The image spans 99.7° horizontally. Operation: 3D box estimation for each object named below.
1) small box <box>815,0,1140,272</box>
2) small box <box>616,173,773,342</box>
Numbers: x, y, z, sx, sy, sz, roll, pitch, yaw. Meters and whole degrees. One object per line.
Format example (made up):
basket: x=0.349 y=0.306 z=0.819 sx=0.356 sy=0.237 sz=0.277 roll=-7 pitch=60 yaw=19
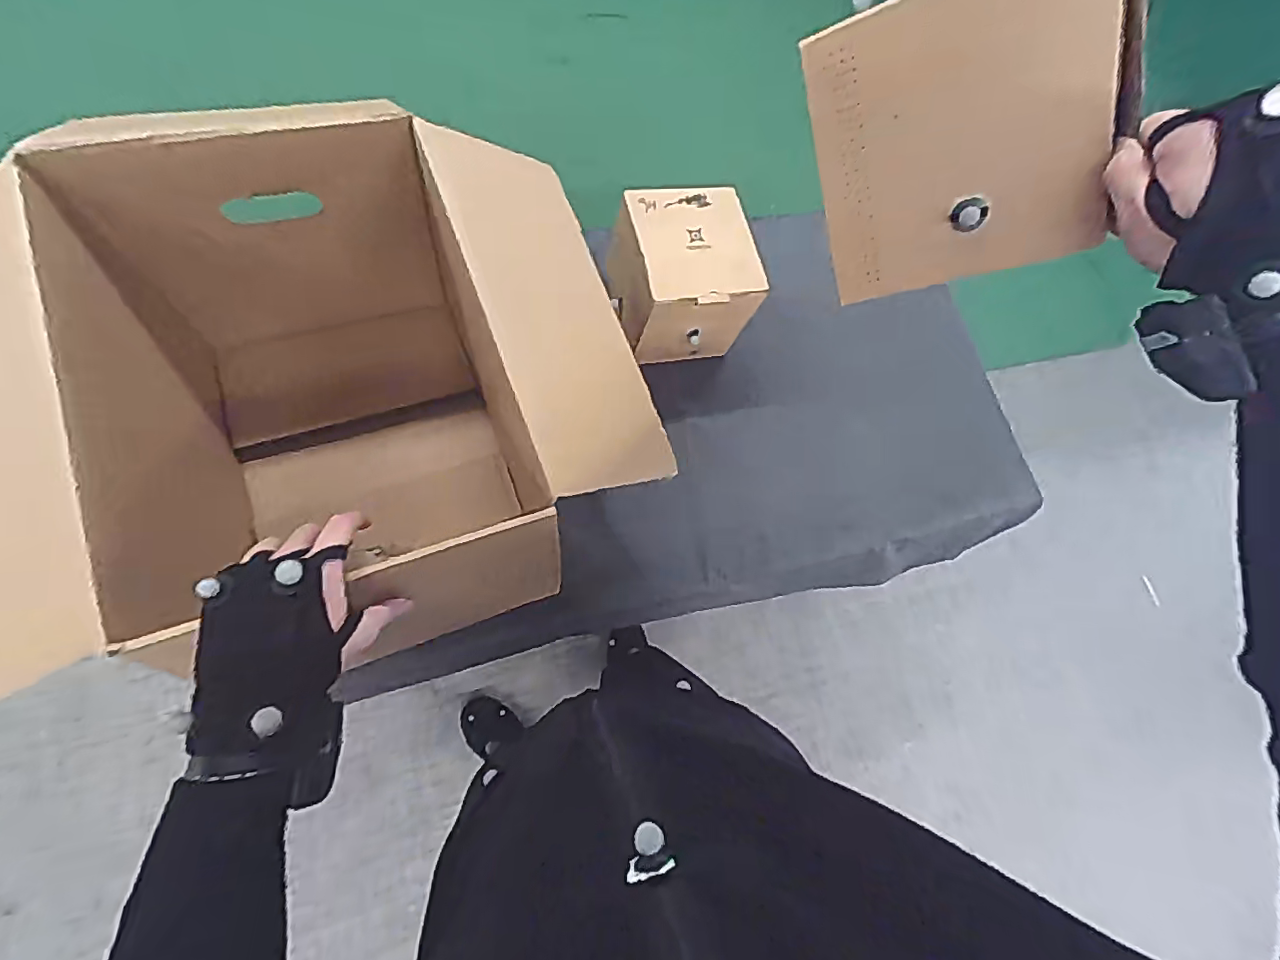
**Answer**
small box: x=0.241 y=-0.275 z=0.412 sx=0.168 sy=0.176 sz=0.179 roll=-59 pitch=136 yaw=-47
small box: x=0.069 y=-0.318 z=0.800 sx=0.168 sy=0.176 sz=0.179 roll=-9 pitch=78 yaw=-15
